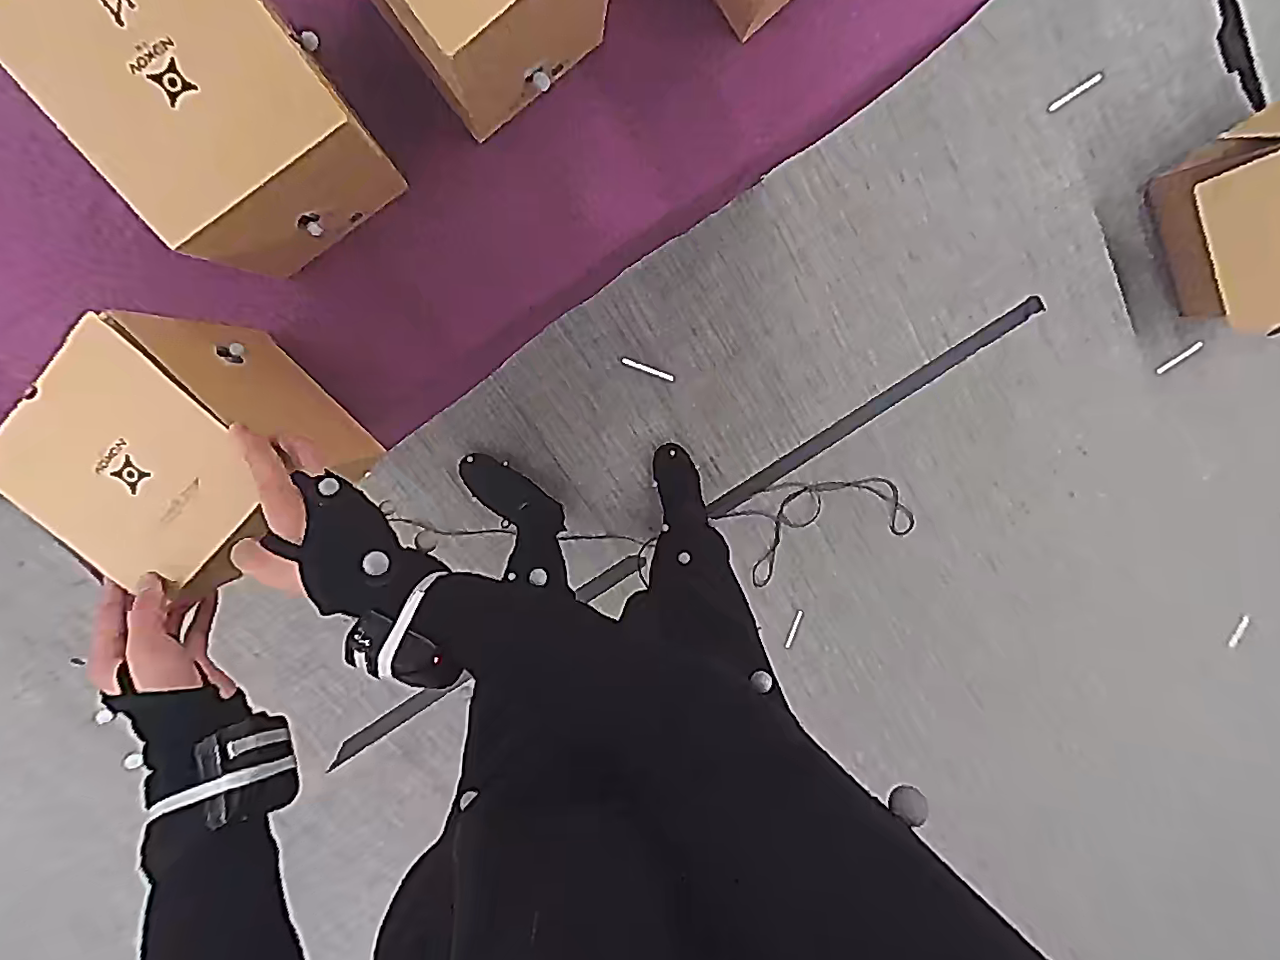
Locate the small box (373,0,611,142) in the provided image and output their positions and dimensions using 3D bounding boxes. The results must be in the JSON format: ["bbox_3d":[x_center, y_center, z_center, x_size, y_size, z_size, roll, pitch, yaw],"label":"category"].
[{"bbox_3d":[-0.139,-0.440,0.461,0.168,0.176,0.179,-39,106,2],"label":"small box"}]

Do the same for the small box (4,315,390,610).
[{"bbox_3d":[-0.379,-0.019,0.499,0.168,0.176,0.179,-44,95,8],"label":"small box"}]

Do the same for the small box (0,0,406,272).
[{"bbox_3d":[-0.335,-0.299,0.463,0.168,0.176,0.179,-35,105,0],"label":"small box"}]
